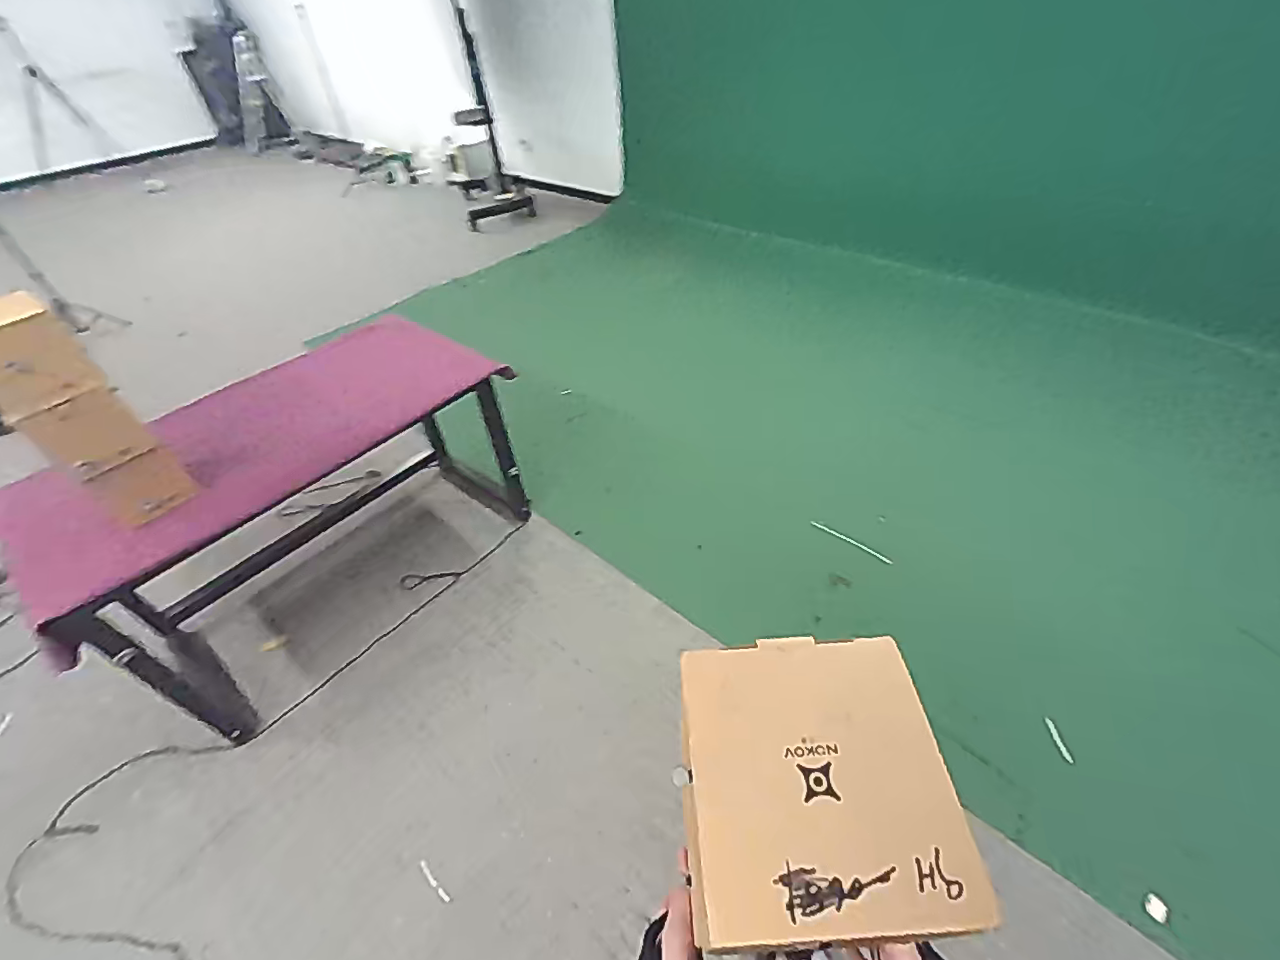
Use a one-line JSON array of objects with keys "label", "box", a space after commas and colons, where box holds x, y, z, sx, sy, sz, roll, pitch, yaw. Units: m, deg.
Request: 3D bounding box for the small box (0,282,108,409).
[{"label": "small box", "box": [-1.220, -0.262, 1.068, 0.179, 0.176, 0.168, 26, 52, 29]}]

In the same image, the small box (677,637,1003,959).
[{"label": "small box", "box": [0.116, 0.241, 0.407, 0.168, 0.176, 0.179, -4, 47, 1]}]

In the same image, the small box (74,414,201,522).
[{"label": "small box", "box": [-1.213, -0.030, 1.296, 0.179, 0.176, 0.168, 29, 53, 29]}]

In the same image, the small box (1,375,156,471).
[{"label": "small box", "box": [-1.215, -0.143, 1.178, 0.179, 0.176, 0.168, 28, 52, 30]}]
